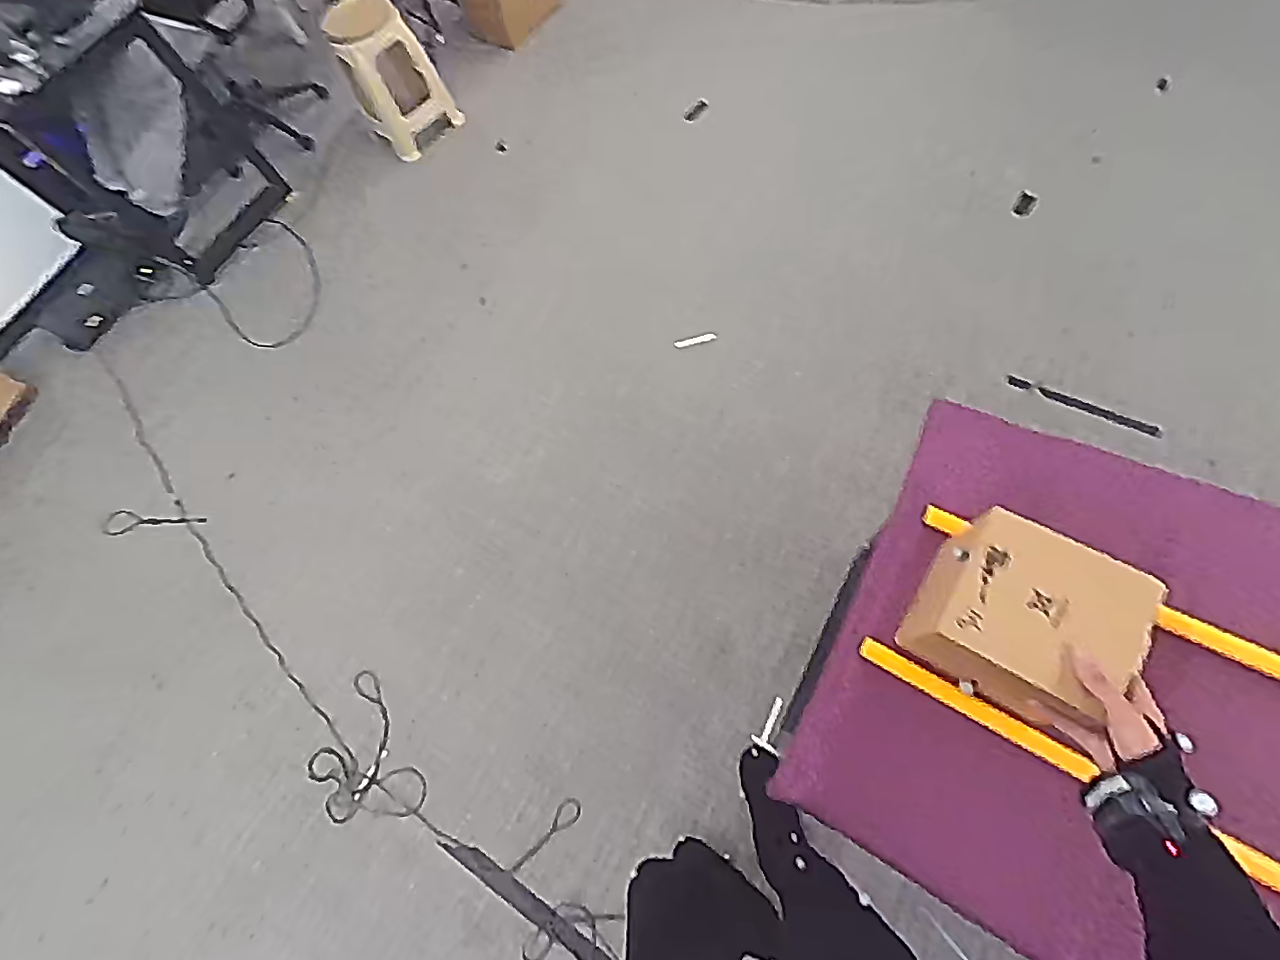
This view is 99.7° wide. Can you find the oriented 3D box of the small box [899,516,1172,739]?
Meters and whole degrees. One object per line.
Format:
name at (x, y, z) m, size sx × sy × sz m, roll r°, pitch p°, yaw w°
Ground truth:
small box at (0.443, 0.171, 0.637) m, size 0.179 × 0.176 × 0.168 m, roll 30°, pitch 76°, yaw 19°
